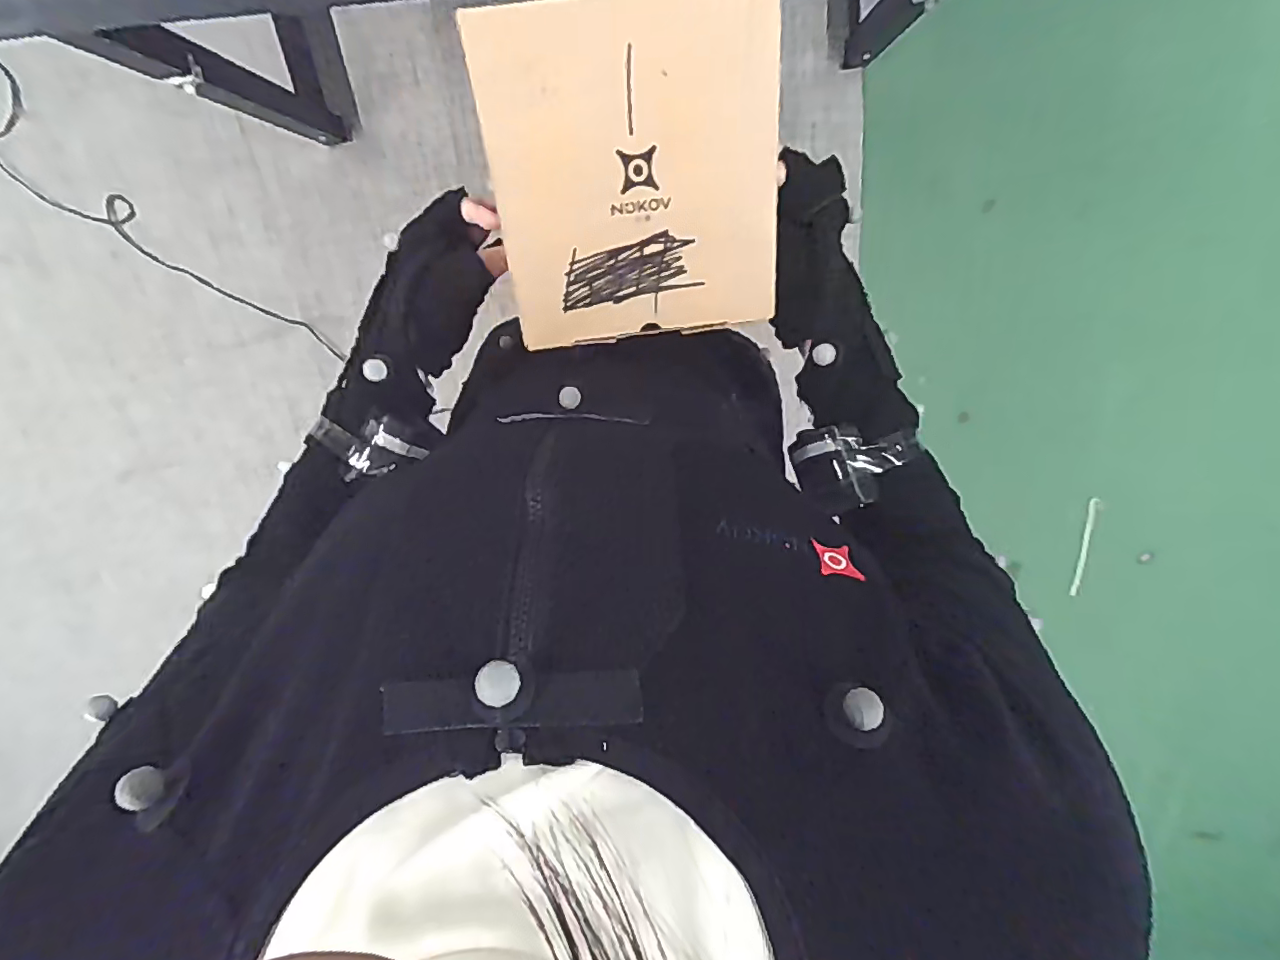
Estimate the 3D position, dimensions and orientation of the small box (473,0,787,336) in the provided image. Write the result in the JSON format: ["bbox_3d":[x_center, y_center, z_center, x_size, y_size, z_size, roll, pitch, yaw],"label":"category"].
[{"bbox_3d":[-0.005,-0.218,0.388,0.168,0.176,0.179,-6,121,-2],"label":"small box"}]
